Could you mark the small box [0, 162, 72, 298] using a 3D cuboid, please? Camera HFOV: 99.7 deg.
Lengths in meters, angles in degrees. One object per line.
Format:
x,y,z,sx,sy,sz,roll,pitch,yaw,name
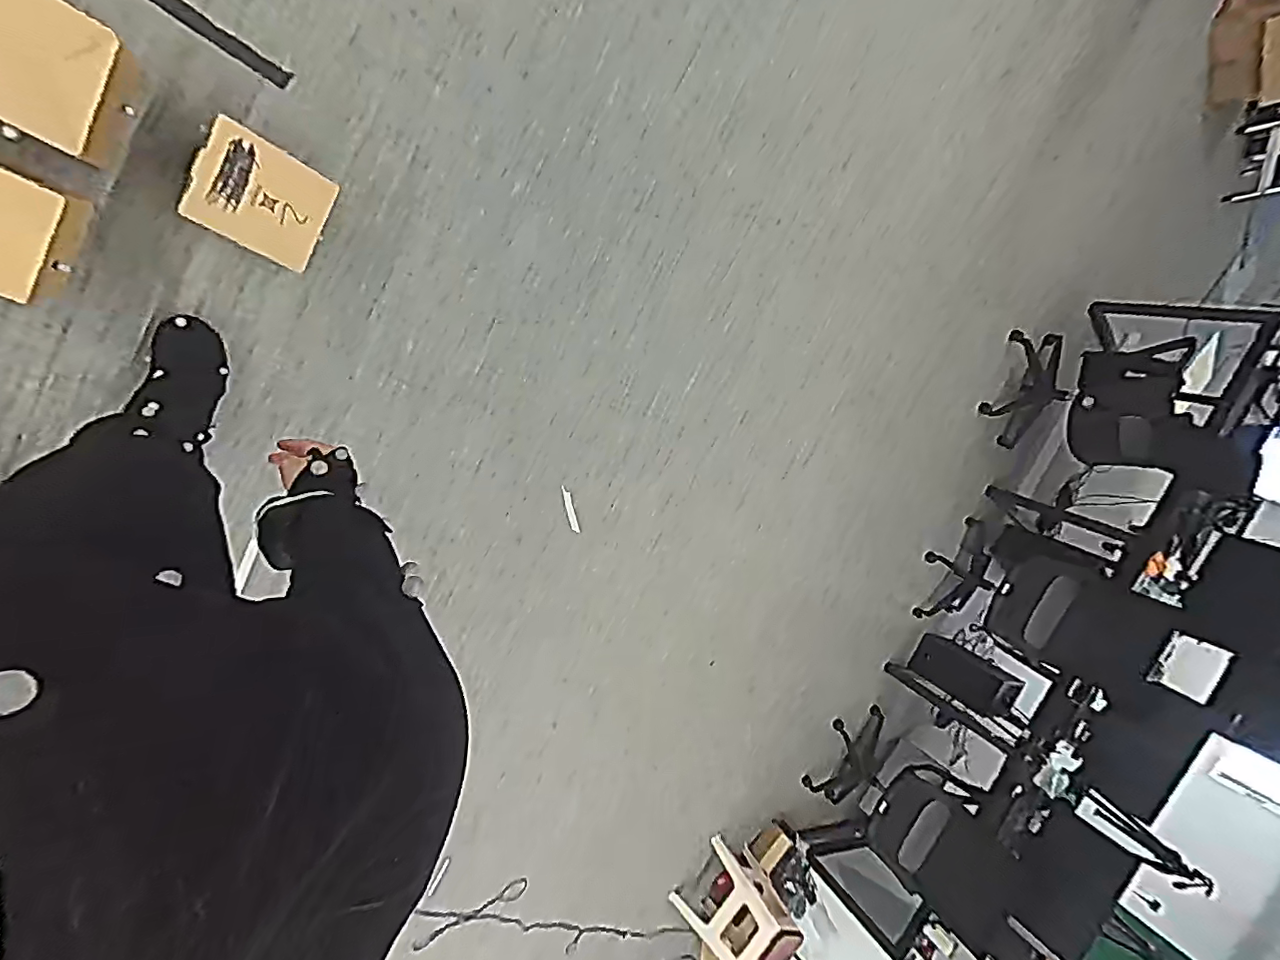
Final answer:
-0.962,-0.382,0.763,0.179,0.176,0.168,24,95,-39,small box
